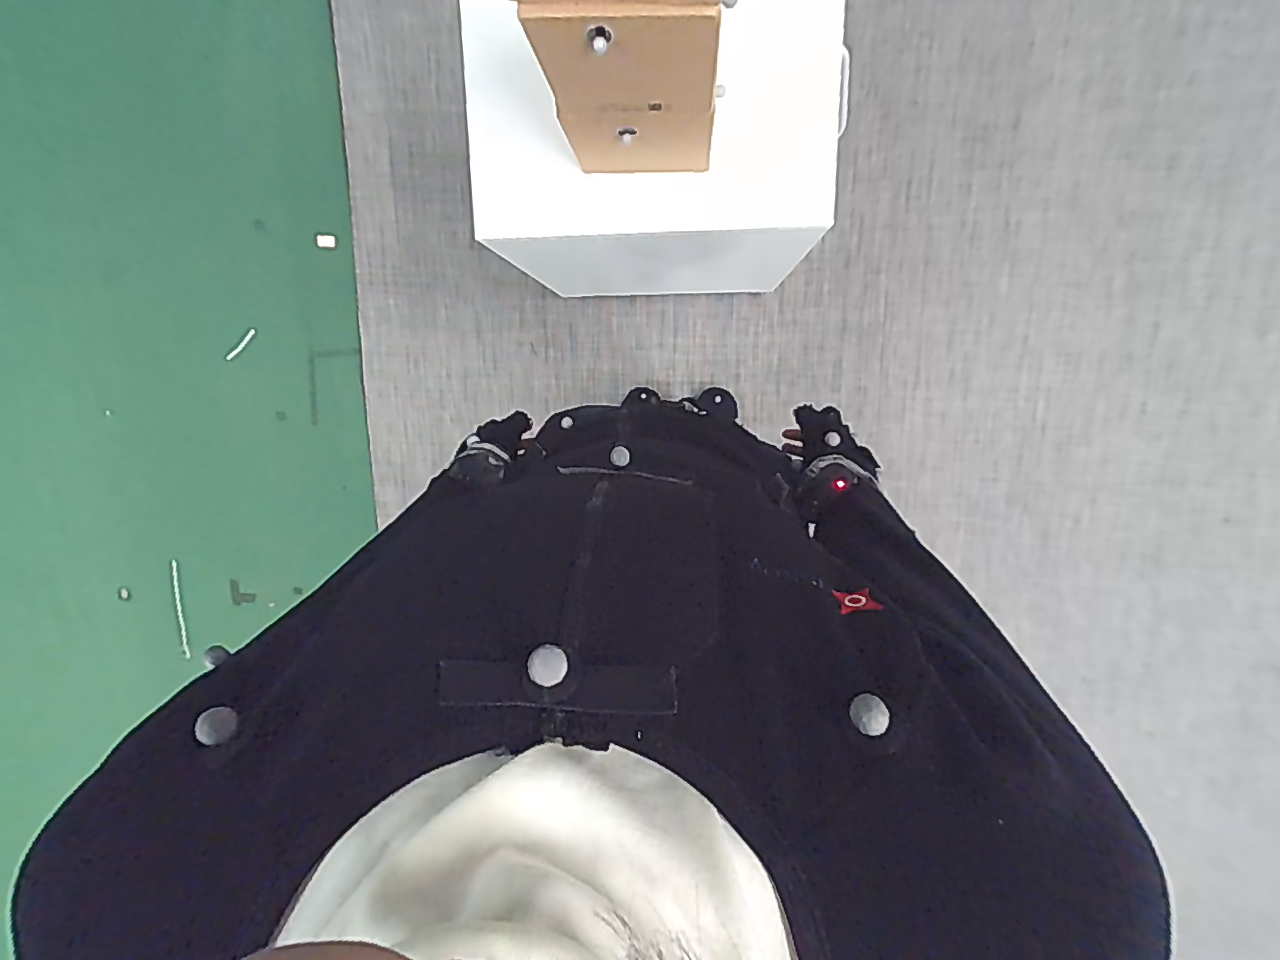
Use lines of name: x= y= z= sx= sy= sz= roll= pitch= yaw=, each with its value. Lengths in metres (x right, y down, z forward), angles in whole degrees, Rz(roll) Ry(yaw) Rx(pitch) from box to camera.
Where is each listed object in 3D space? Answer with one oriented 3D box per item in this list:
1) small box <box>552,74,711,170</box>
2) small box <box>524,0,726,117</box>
small box: x=-0.001 y=-0.497 z=0.658 sx=0.179 sy=0.176 sz=0.168 roll=2 pitch=100 yaw=4
small box: x=-0.008 y=-0.472 z=0.499 sx=0.168 sy=0.176 sz=0.179 roll=1 pitch=101 yaw=4
